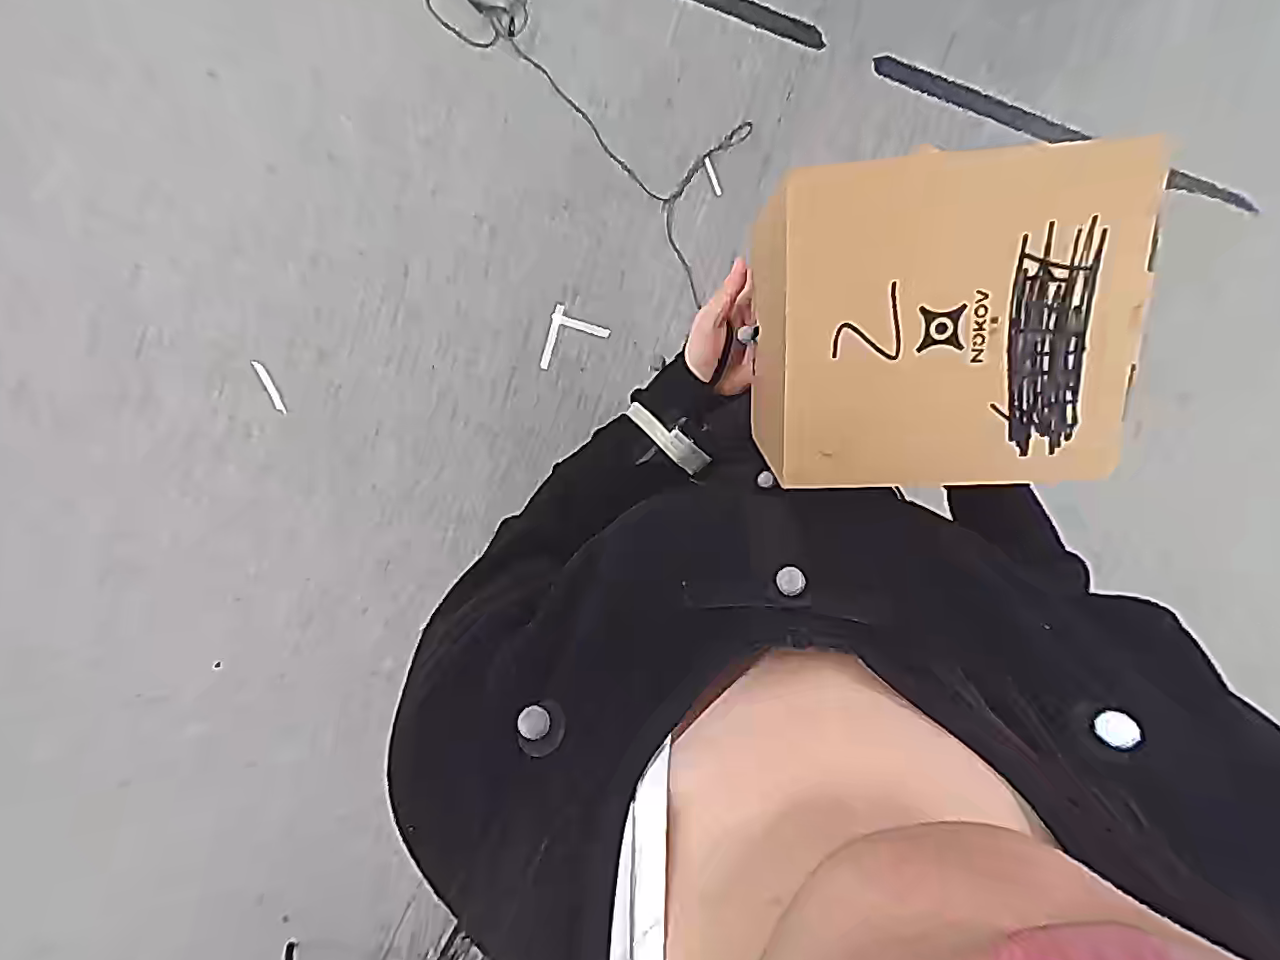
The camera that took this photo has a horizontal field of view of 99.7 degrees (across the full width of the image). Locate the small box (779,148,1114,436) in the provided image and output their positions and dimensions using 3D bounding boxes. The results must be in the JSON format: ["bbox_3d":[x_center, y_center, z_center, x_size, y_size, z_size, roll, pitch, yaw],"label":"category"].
[{"bbox_3d":[0.257,-0.163,0.505,0.179,0.176,0.168,25,103,-5],"label":"small box"}]
